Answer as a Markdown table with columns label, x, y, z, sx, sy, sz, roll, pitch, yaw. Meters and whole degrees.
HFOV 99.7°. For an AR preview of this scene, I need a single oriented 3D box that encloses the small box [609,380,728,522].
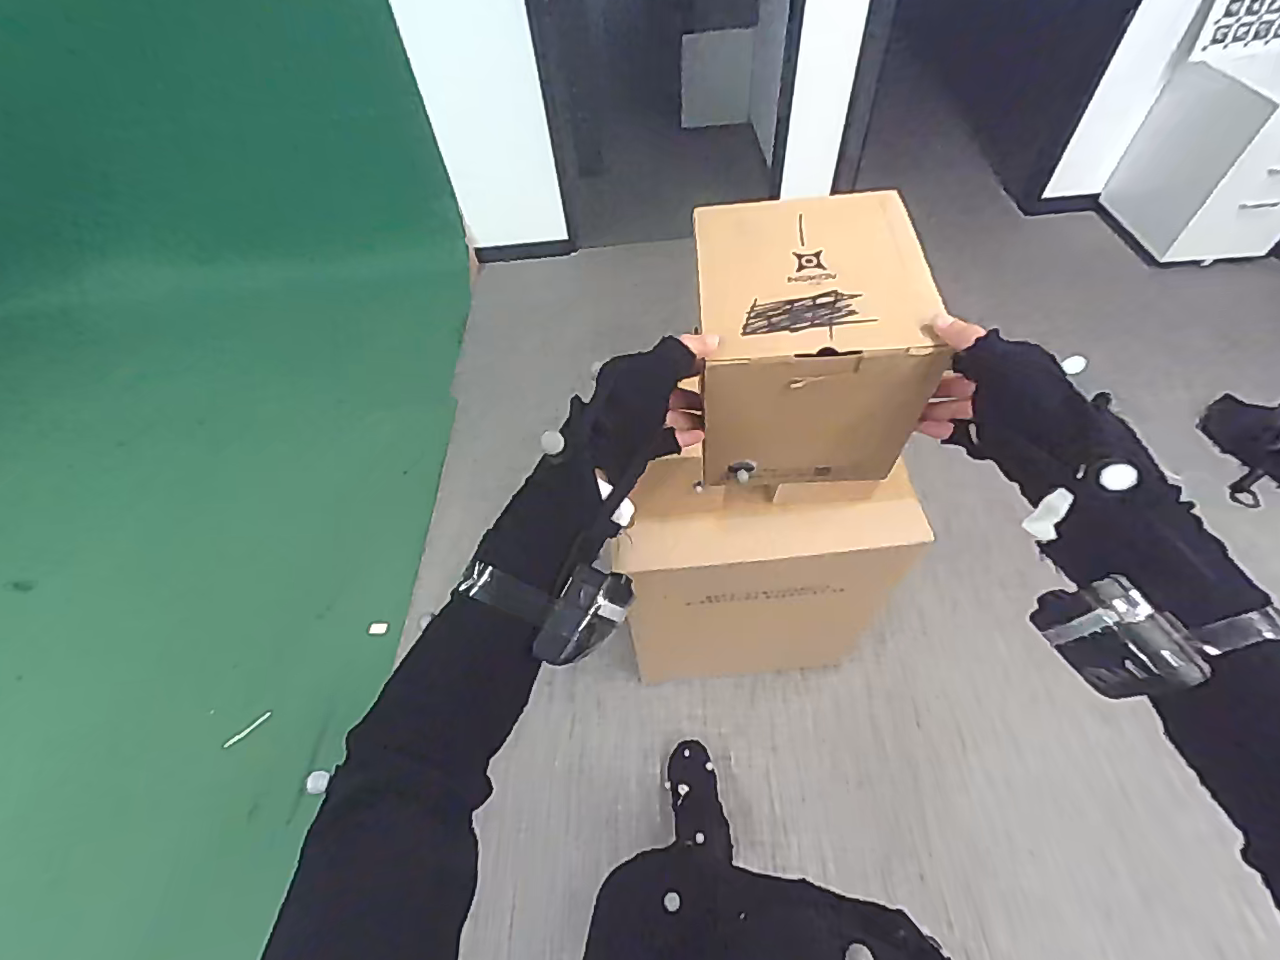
| label | x | y | z | sx | sy | sz | roll | pitch | yaw |
| --- | --- | --- | --- | --- | --- | --- | --- | --- | --- |
| small box | 0.046 | -0.045 | 0.920 | 0.179 | 0.176 | 0.168 | -7 | 56 | 1 |

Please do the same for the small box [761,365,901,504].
| label | x | y | z | sx | sy | sz | roll | pitch | yaw |
| --- | --- | --- | --- | --- | --- | --- | --- | --- | --- |
| small box | 0.307 | -0.071 | 0.915 | 0.179 | 0.176 | 0.168 | -4 | 57 | 2 |
